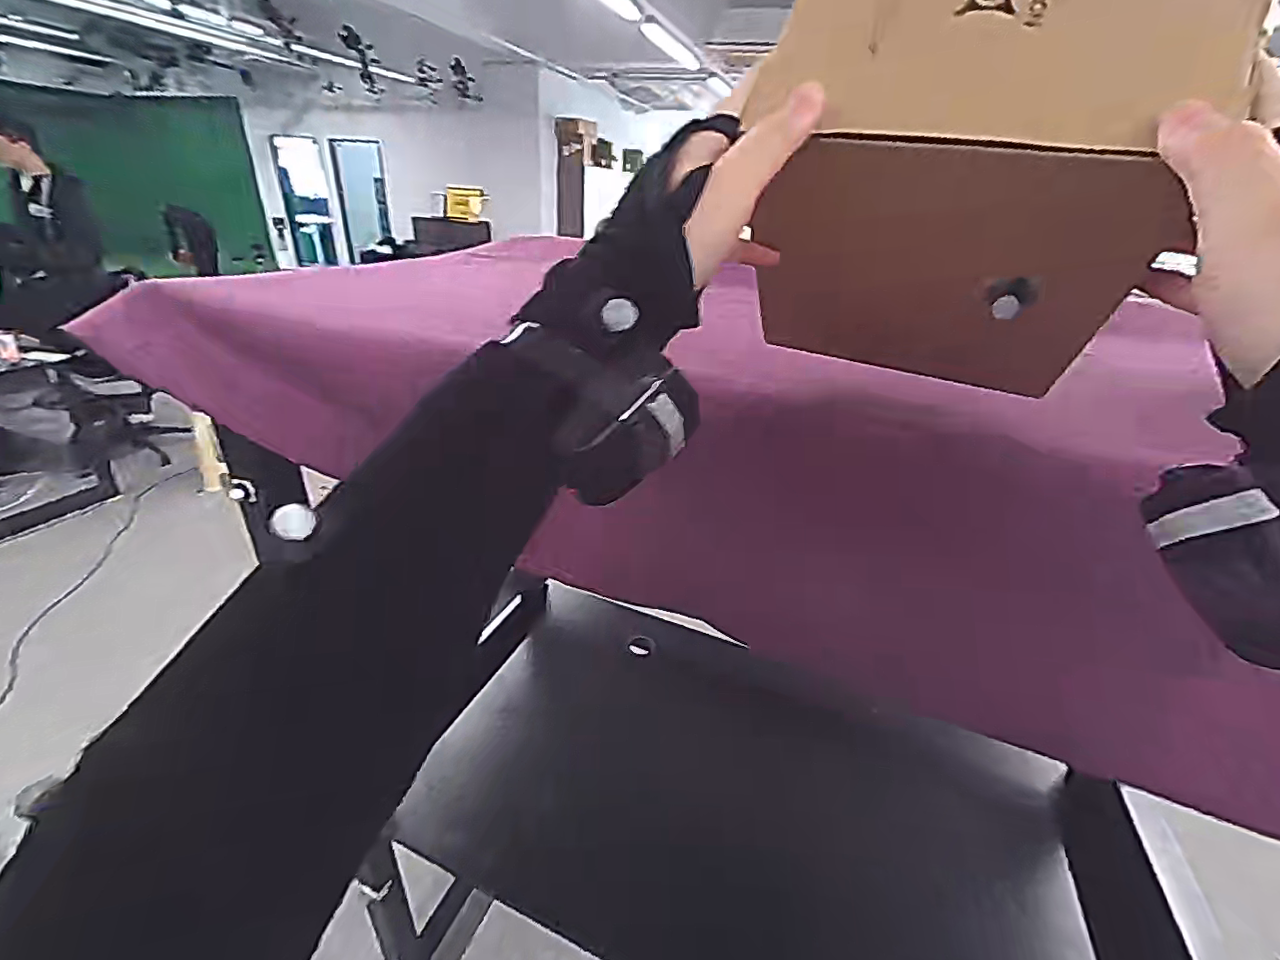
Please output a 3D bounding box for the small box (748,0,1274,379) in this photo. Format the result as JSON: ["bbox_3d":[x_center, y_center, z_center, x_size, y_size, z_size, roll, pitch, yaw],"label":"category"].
[{"bbox_3d":[0.177,-0.177,0.300,0.179,0.176,0.168,19,75,23],"label":"small box"}]
